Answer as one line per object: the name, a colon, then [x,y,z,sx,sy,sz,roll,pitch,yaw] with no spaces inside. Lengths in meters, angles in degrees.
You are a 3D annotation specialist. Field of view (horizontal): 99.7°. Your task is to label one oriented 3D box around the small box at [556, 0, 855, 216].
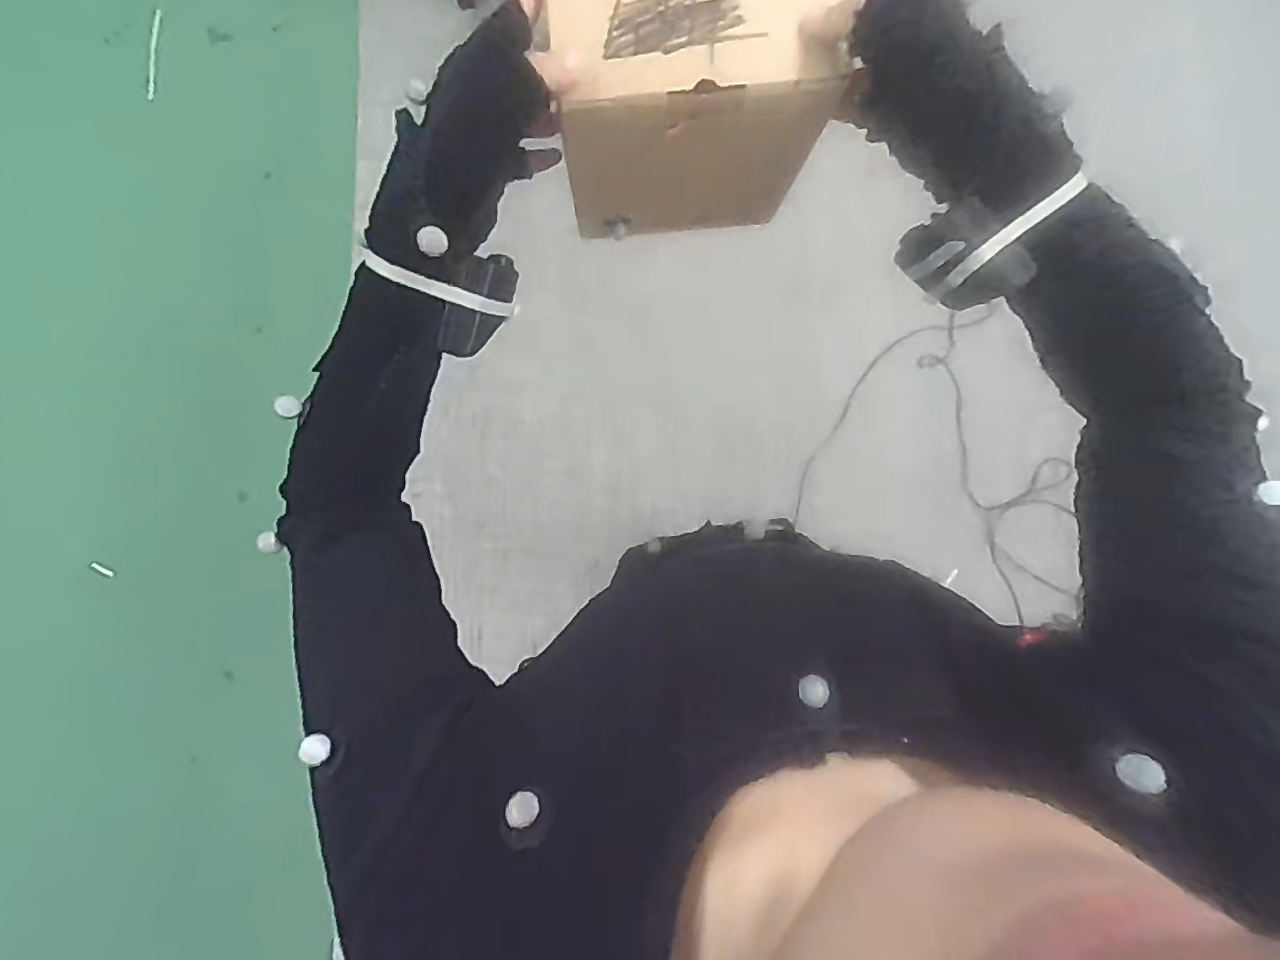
small box: [0.031,-0.306,0.380,0.168,0.176,0.179,-6,90,-2]
